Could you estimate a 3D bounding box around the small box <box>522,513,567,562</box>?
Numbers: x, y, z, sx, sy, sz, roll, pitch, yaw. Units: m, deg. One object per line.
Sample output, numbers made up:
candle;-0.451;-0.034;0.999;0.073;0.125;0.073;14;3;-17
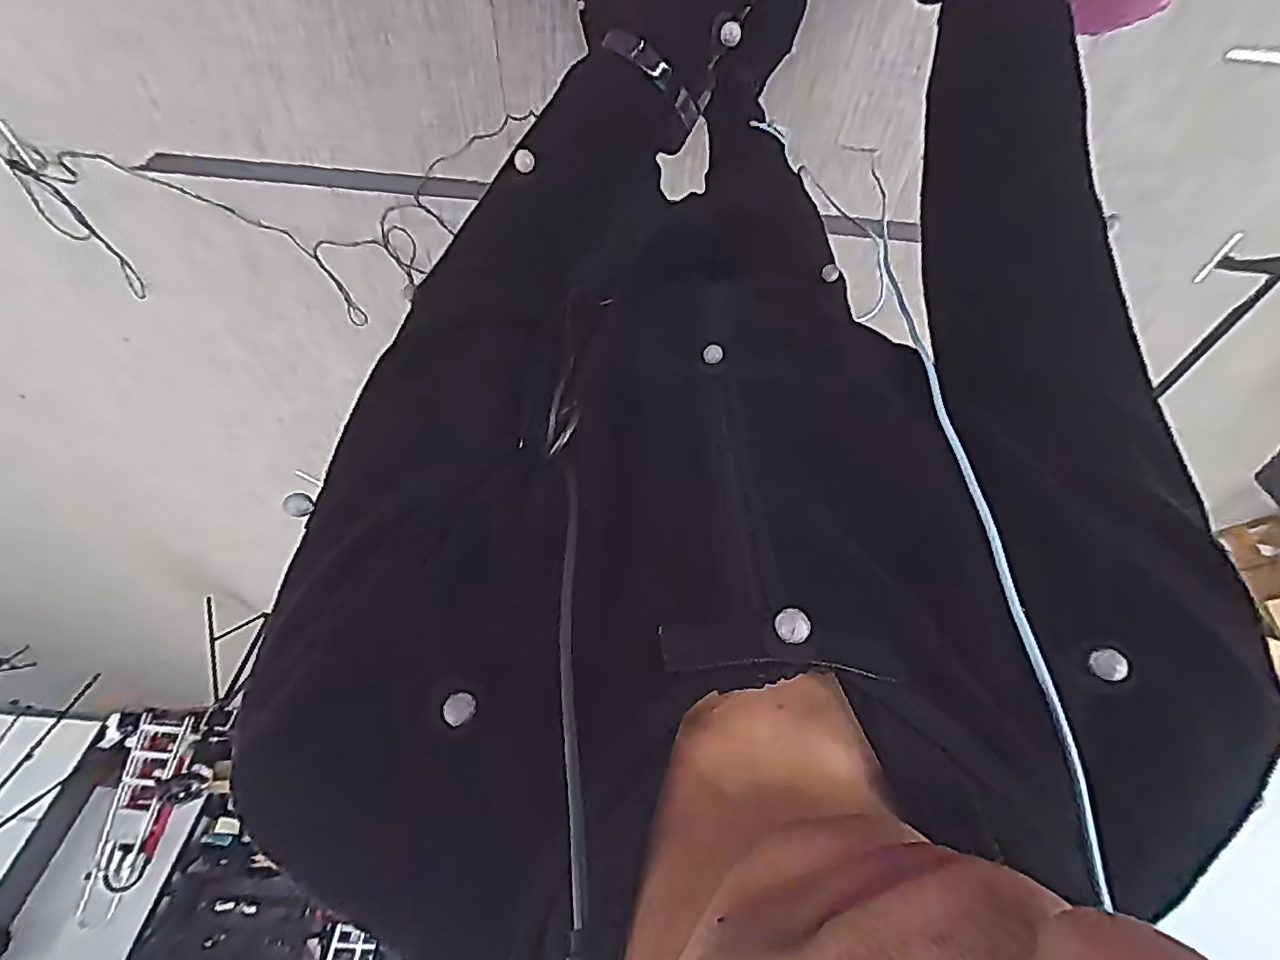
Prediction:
small box;-0.437;0.266;2.511;0.179;0.176;0.168;4;140;1
